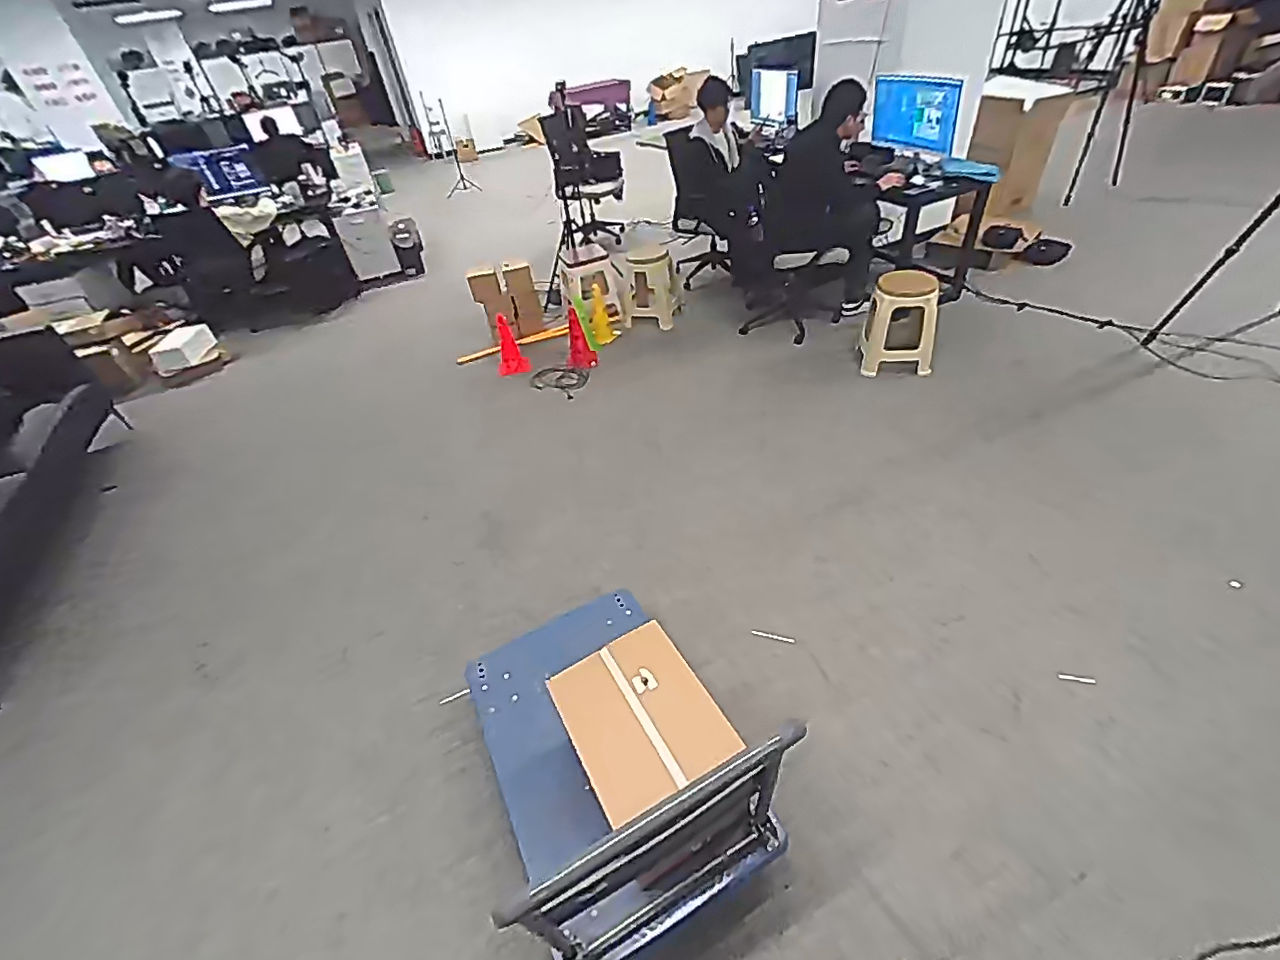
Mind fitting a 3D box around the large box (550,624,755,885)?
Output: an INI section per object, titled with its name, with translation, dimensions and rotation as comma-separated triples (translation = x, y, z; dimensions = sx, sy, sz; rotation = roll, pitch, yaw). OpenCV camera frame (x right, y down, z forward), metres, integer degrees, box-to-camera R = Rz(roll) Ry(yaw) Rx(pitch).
[large box]
translation = 0.032, 0.643, 1.301
dimensions = 0.320, 0.320, 0.408
rotation = -25, 42, -18
